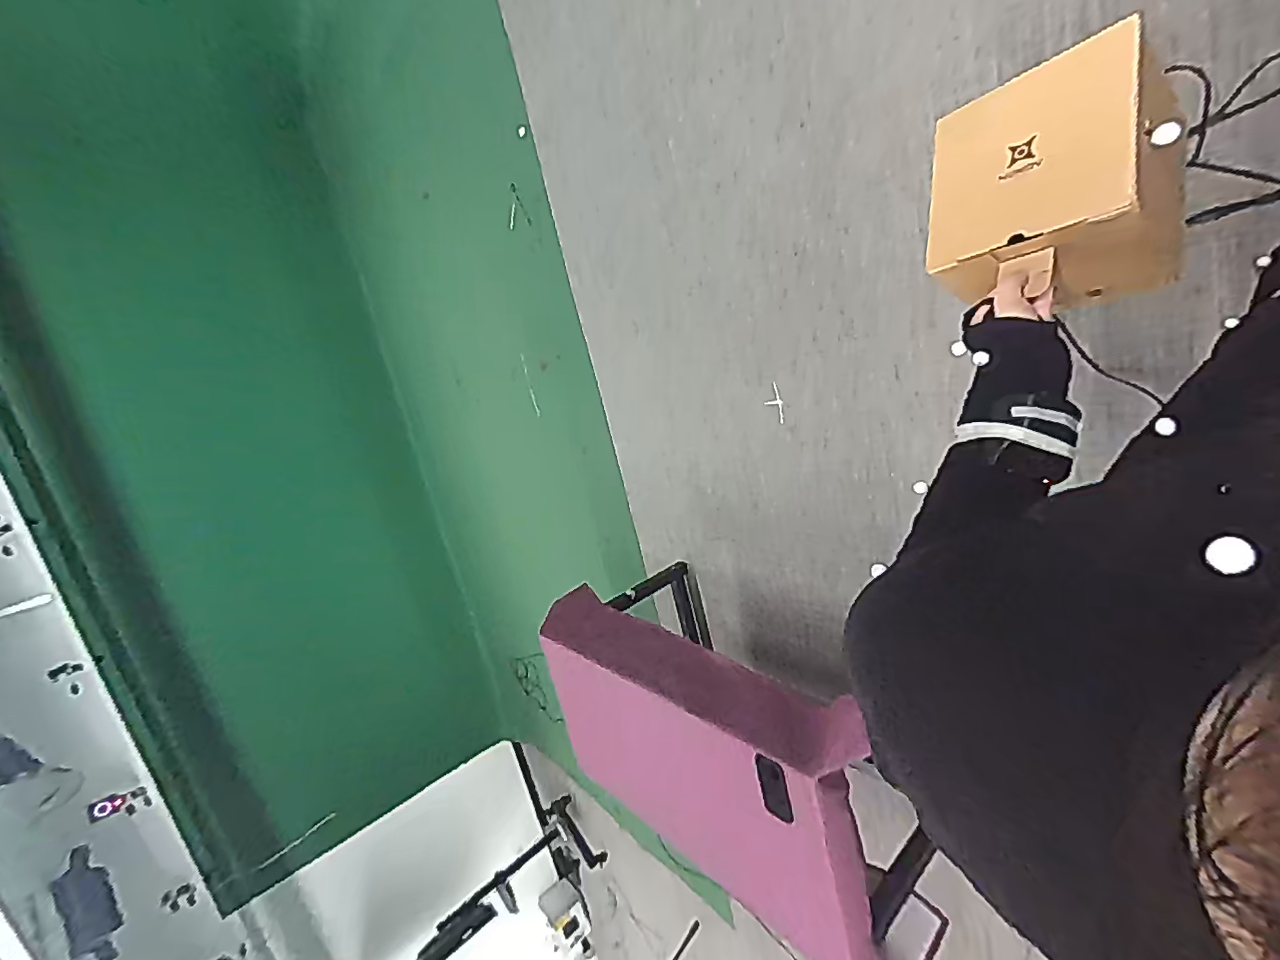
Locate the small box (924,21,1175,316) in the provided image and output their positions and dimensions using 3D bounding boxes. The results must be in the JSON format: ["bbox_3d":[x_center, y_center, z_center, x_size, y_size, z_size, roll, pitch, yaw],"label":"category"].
[{"bbox_3d":[0.427,-0.297,0.565,0.168,0.176,0.179,0,82,54],"label":"small box"}]
